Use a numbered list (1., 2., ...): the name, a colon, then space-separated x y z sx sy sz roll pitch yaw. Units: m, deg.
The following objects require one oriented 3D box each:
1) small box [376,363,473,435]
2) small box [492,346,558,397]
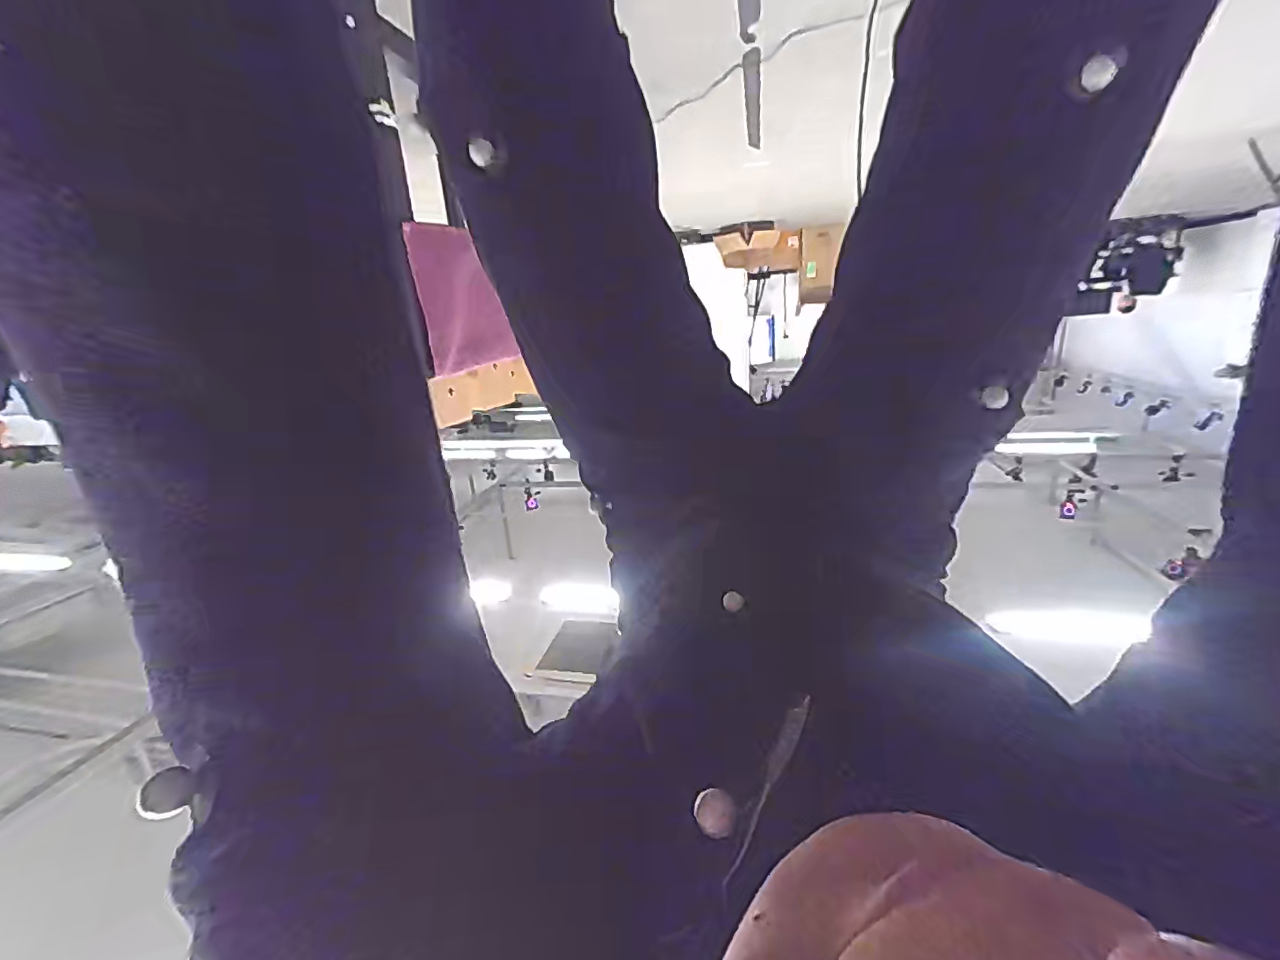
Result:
1. small box: -0.591 -0.228 1.485 0.179 0.176 0.168 2 -162 19
2. small box: -0.429 -0.405 2.005 0.179 0.176 0.168 4 -161 27
